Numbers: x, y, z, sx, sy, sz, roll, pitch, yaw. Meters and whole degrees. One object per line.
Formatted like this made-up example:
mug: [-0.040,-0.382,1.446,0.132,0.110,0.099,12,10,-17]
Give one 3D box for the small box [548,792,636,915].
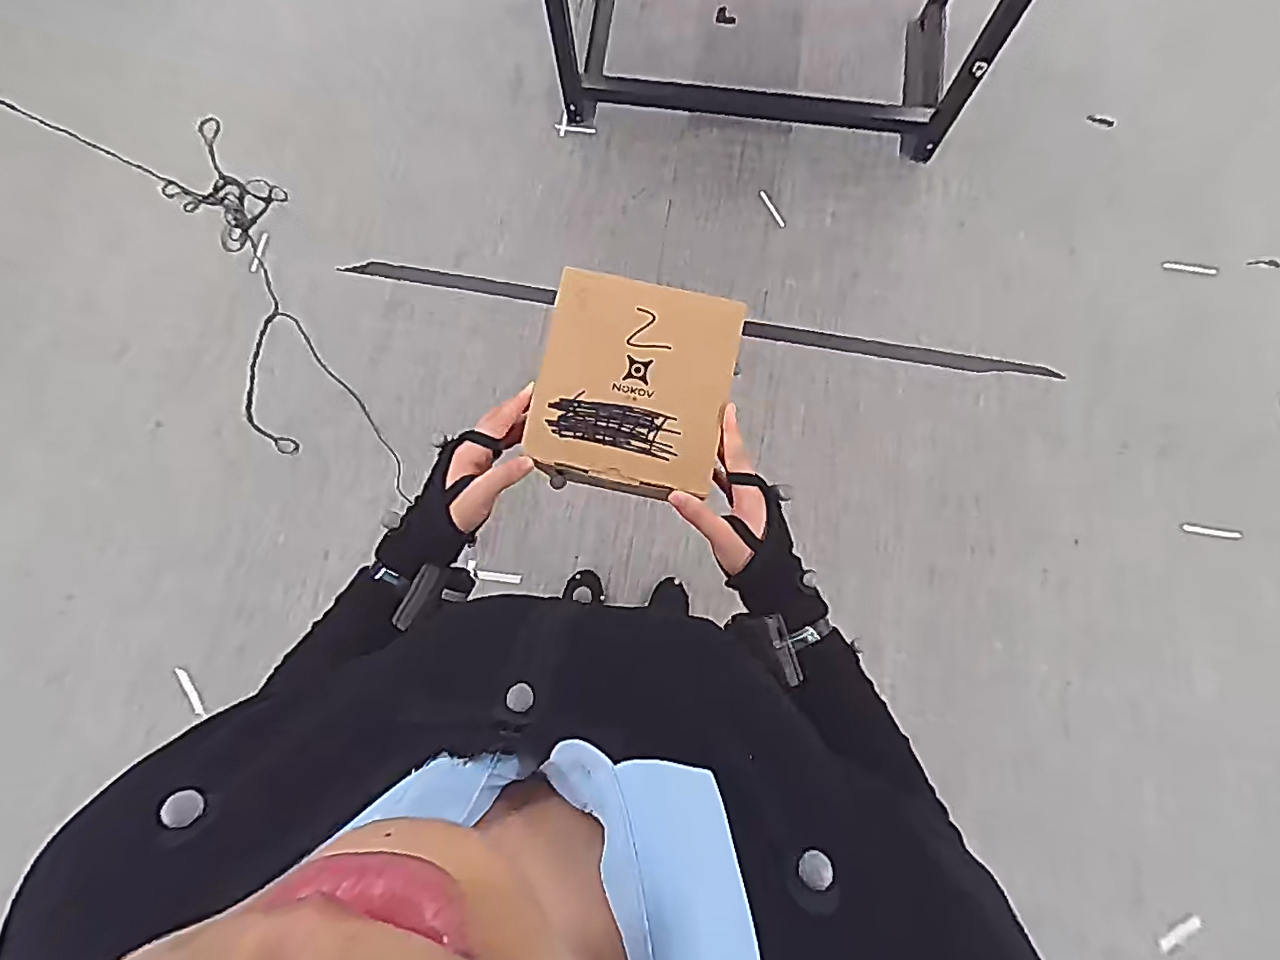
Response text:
small box: [-0.108,0.885,1.302,0.168,0.176,0.179,13,80,4]
